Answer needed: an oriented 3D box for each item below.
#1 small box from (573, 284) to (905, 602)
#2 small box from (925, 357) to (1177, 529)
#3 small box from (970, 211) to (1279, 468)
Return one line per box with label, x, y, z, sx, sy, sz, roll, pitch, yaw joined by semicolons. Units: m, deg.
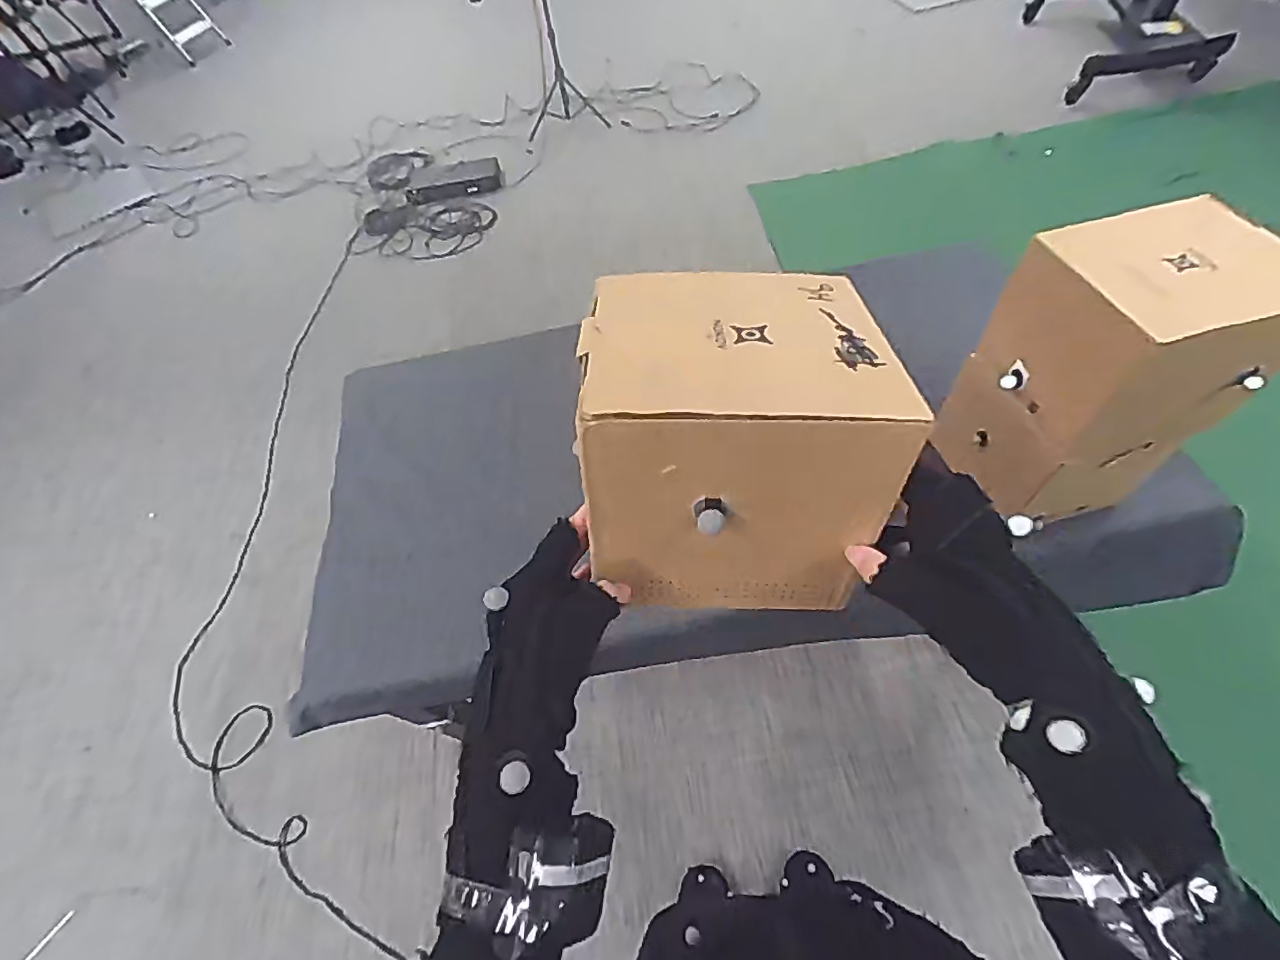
small box;0.054;-0.026;0.391;0.179;0.176;0.168;1;44;0
small box;0.505;-0.055;0.692;0.168;0.176;0.179;-15;55;-2
small box;0.487;-0.137;0.554;0.179;0.176;0.168;-14;54;0
